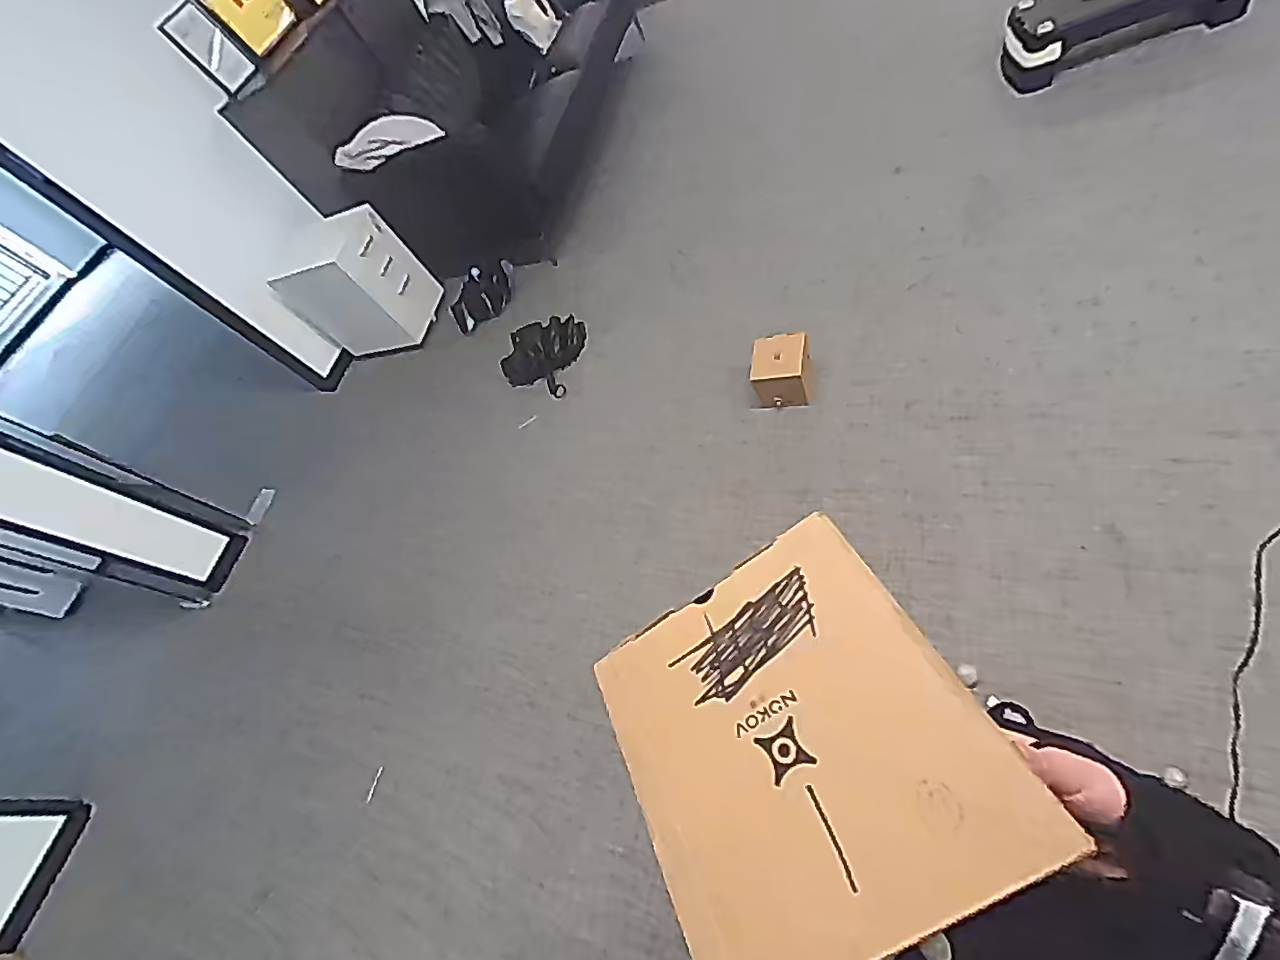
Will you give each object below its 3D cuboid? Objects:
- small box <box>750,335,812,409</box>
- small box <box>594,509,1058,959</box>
[{"bbox_3d":[0.480,-0.360,1.825,0.168,0.176,0.179,-2,62,27],"label":"small box"},{"bbox_3d":[0.103,0.156,0.329,0.168,0.176,0.179,-37,48,10],"label":"small box"}]
